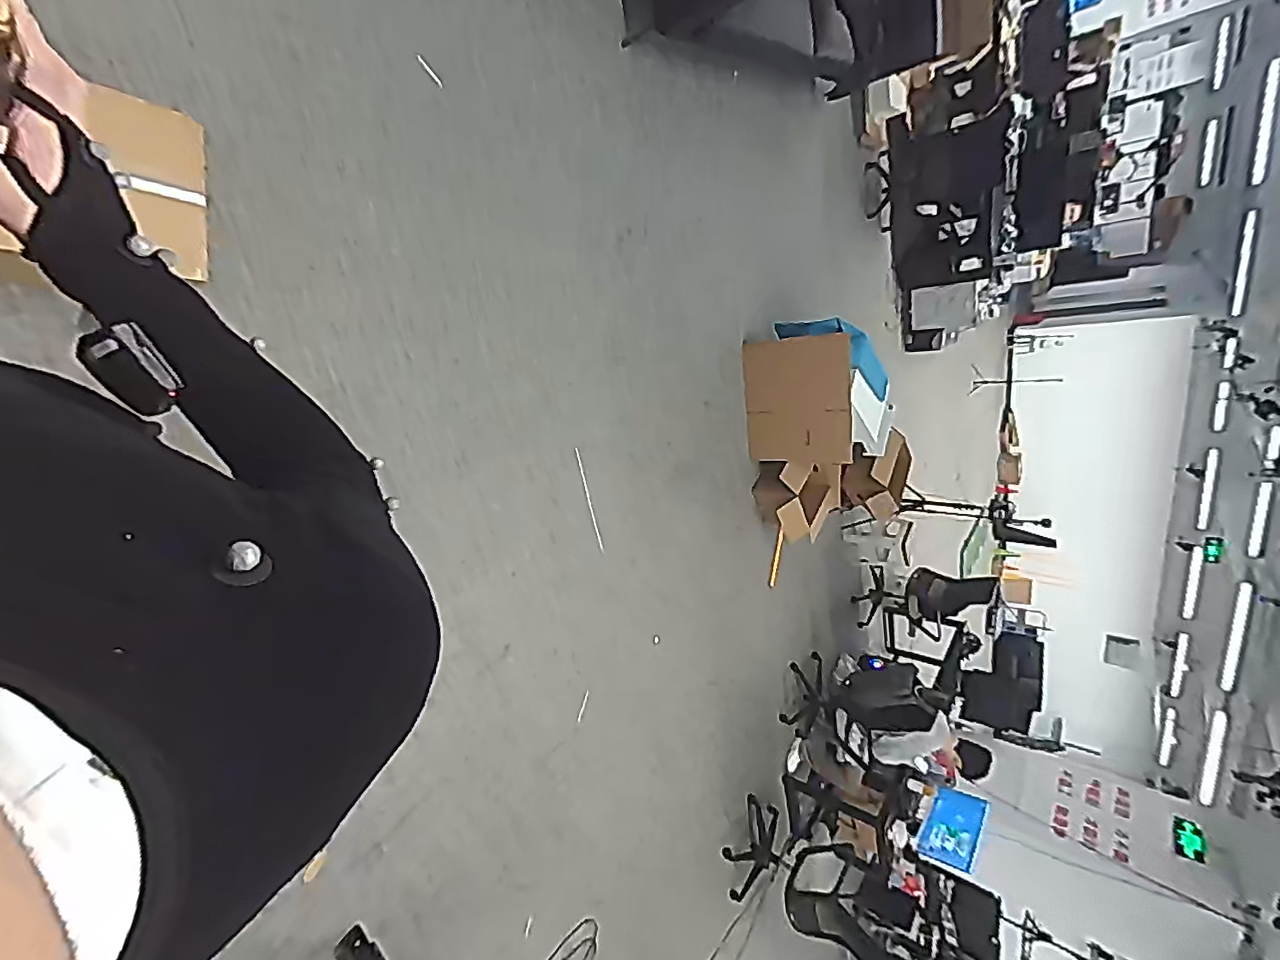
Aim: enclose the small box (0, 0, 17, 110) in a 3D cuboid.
[{"bbox_3d":[-0.523,-0.372,0.332,0.168,0.176,0.179,-10,101,-47],"label":"small box"}]
